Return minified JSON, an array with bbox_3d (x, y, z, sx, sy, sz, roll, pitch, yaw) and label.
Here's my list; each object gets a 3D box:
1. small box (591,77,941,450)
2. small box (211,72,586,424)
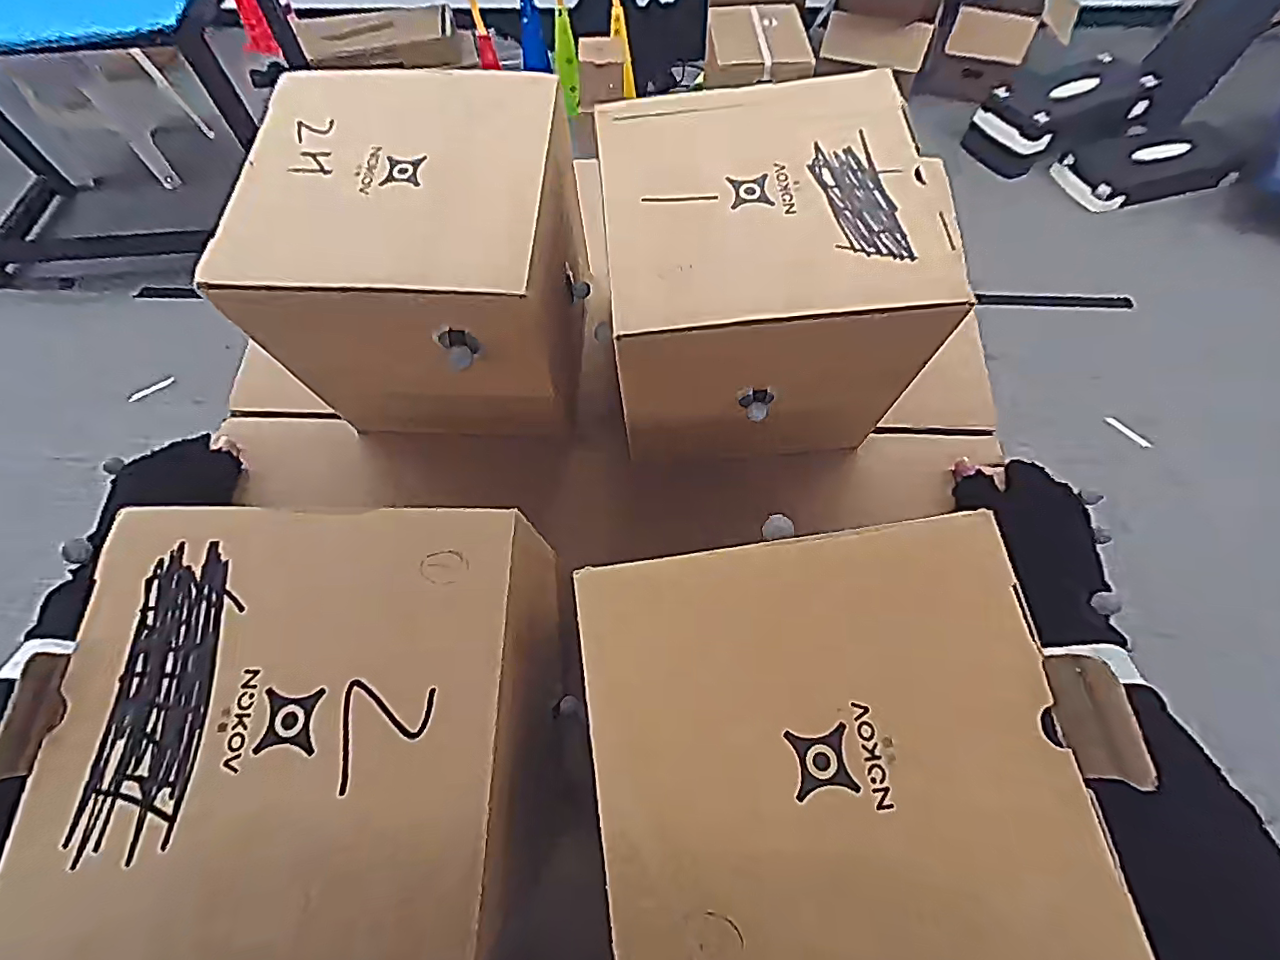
[{"bbox_3d":[0.065,-0.131,0.375,0.179,0.176,0.168,-5,69,1],"label":"small box"},{"bbox_3d":[-0.139,-0.150,0.390,0.179,0.176,0.168,3,69,3],"label":"small box"}]
